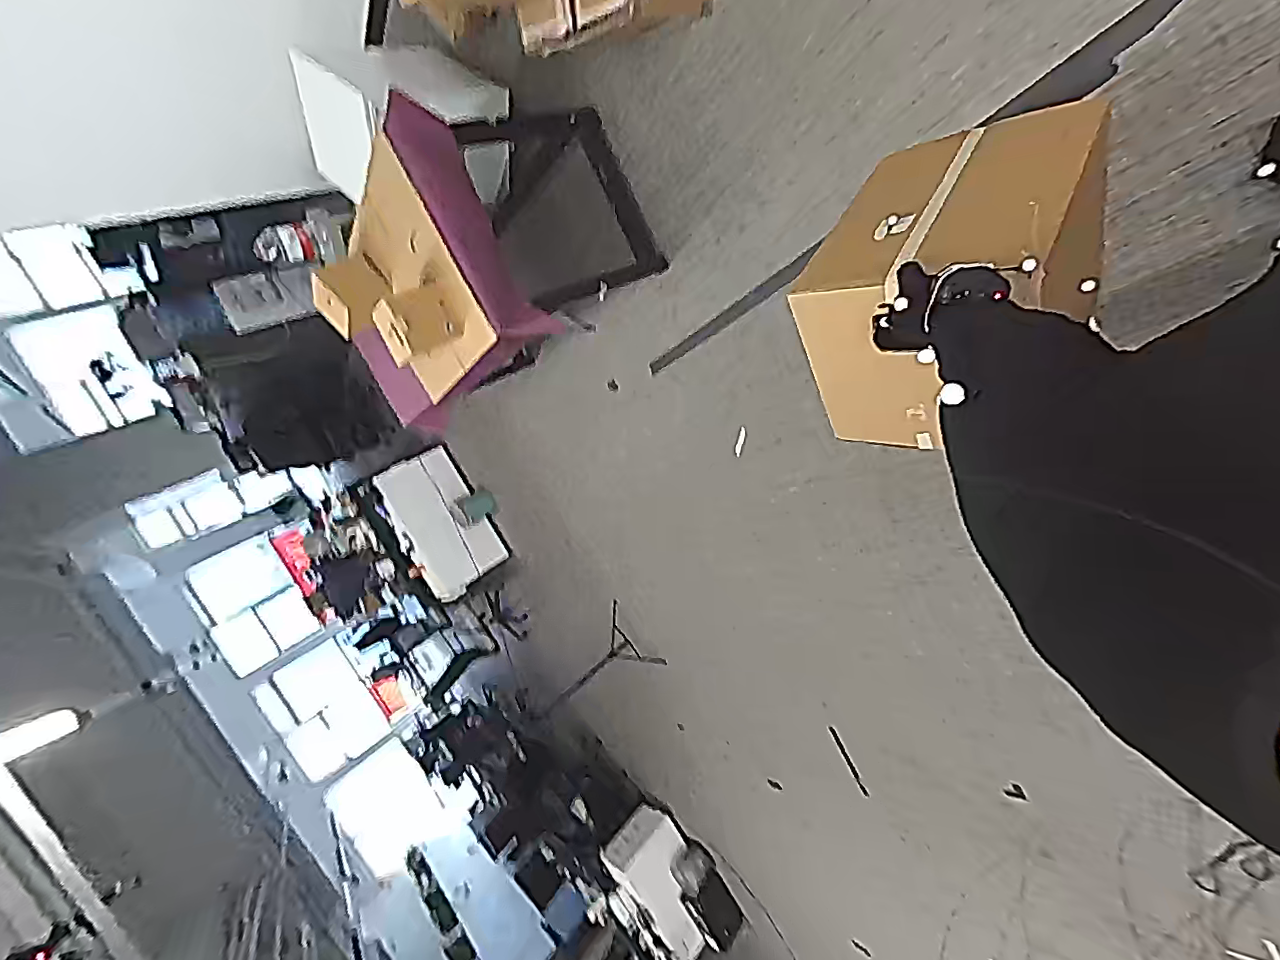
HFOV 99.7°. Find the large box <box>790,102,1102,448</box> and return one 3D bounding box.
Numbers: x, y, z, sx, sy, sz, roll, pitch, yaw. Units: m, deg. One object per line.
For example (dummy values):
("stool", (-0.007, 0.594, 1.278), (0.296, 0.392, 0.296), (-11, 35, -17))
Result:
("large box", (0.502, -0.312, 0.876), (0.320, 0.408, 0.320), (12, 149, 44))
